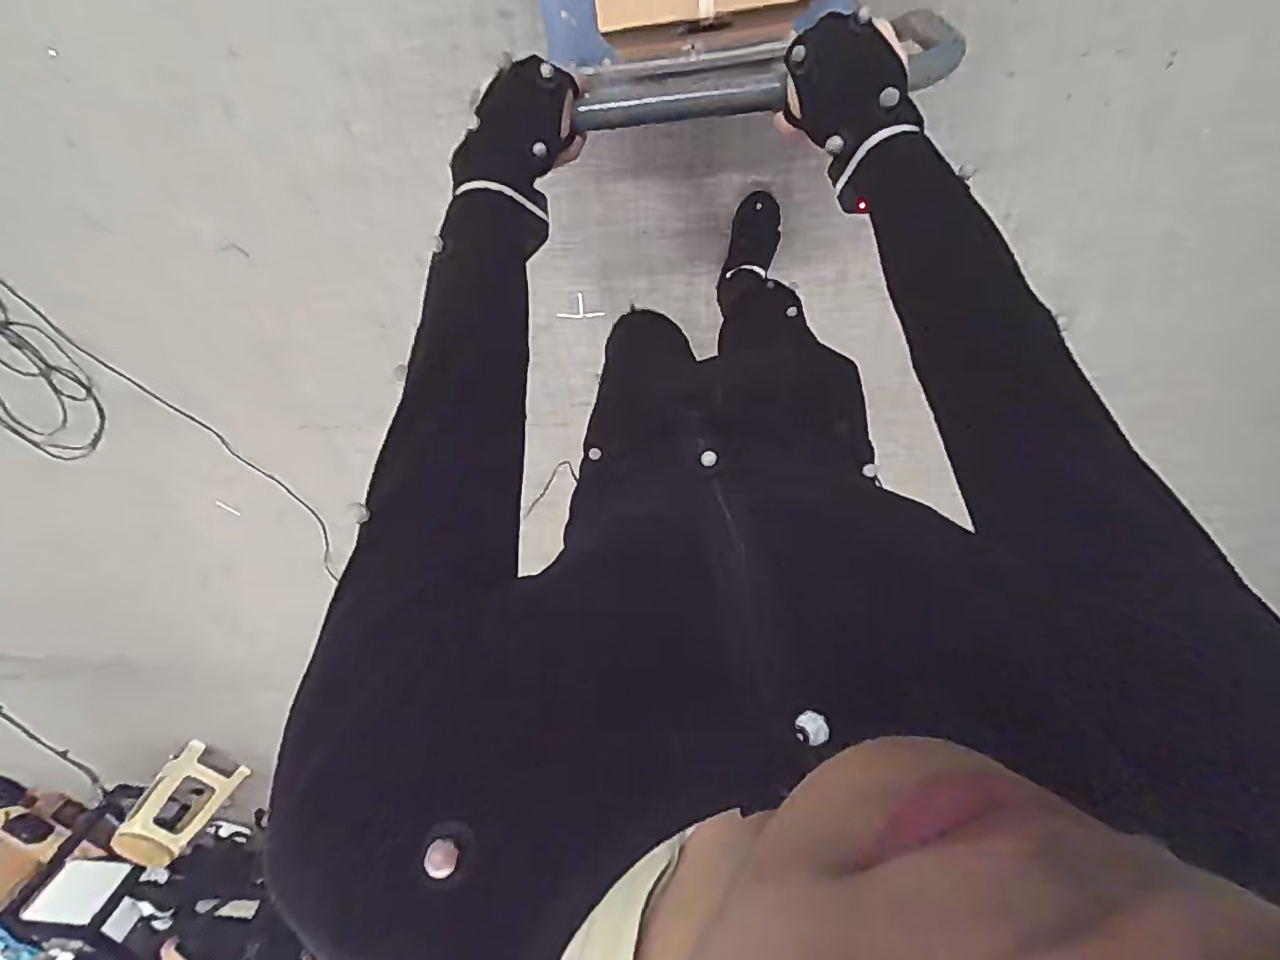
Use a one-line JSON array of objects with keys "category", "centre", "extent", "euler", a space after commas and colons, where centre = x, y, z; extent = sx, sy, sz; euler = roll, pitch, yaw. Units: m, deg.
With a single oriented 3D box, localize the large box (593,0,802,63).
[{"category": "large box", "centre": [0.083, -0.919, 0.811], "extent": [0.320, 0.320, 0.408], "euler": [-2, 120, 8]}]
